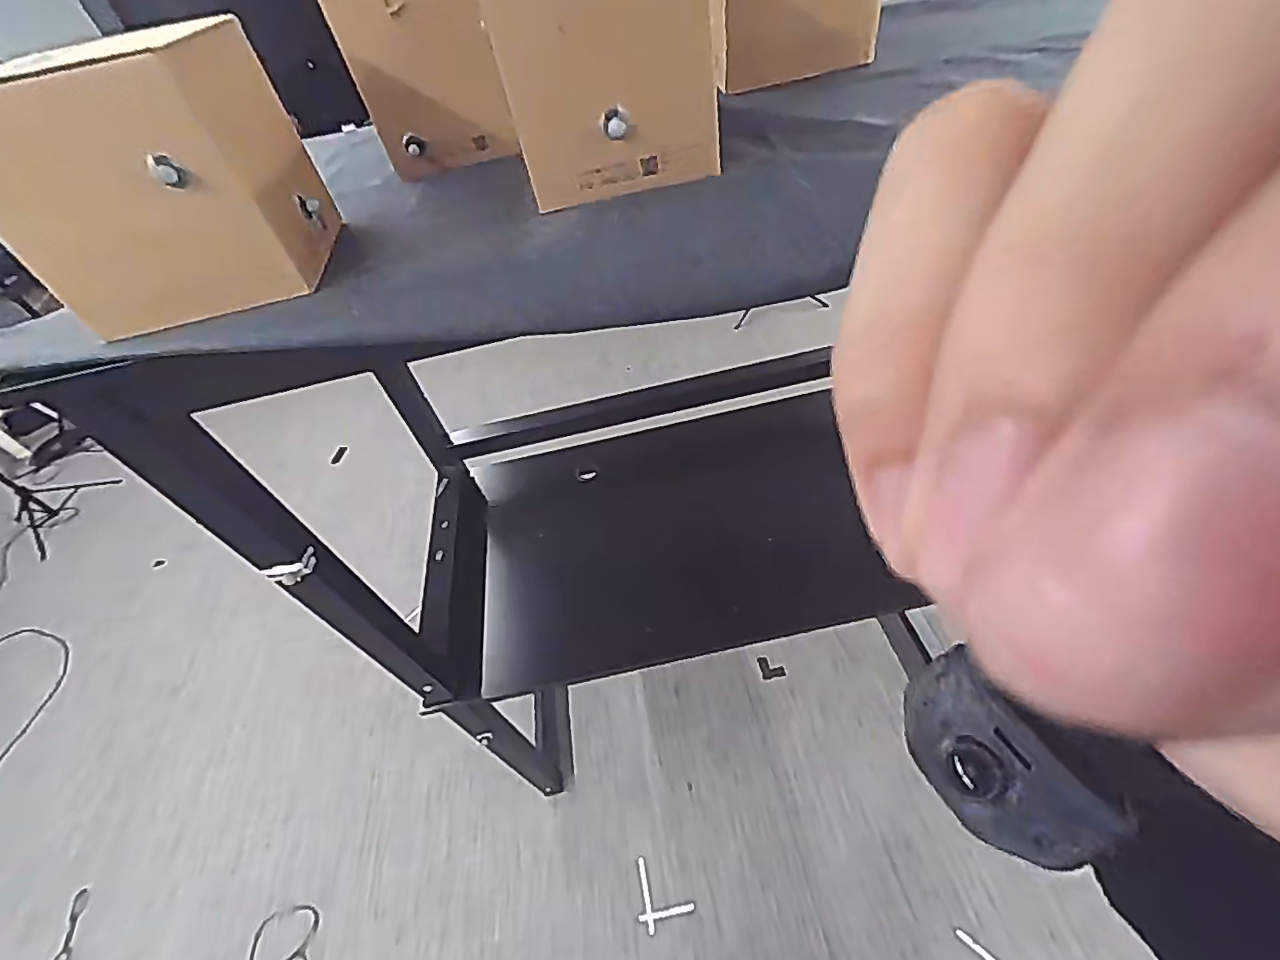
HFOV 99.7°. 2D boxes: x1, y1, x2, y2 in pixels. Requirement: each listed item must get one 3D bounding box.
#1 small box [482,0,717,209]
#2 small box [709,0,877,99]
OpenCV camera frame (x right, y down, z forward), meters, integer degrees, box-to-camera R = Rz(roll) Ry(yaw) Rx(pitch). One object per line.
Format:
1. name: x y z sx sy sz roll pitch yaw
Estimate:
1. small box: -0.031 -0.367 0.481 0.168 0.176 0.179 -11 46 3
2. small box: 0.170 -0.579 0.632 0.179 0.176 0.168 -11 47 4
